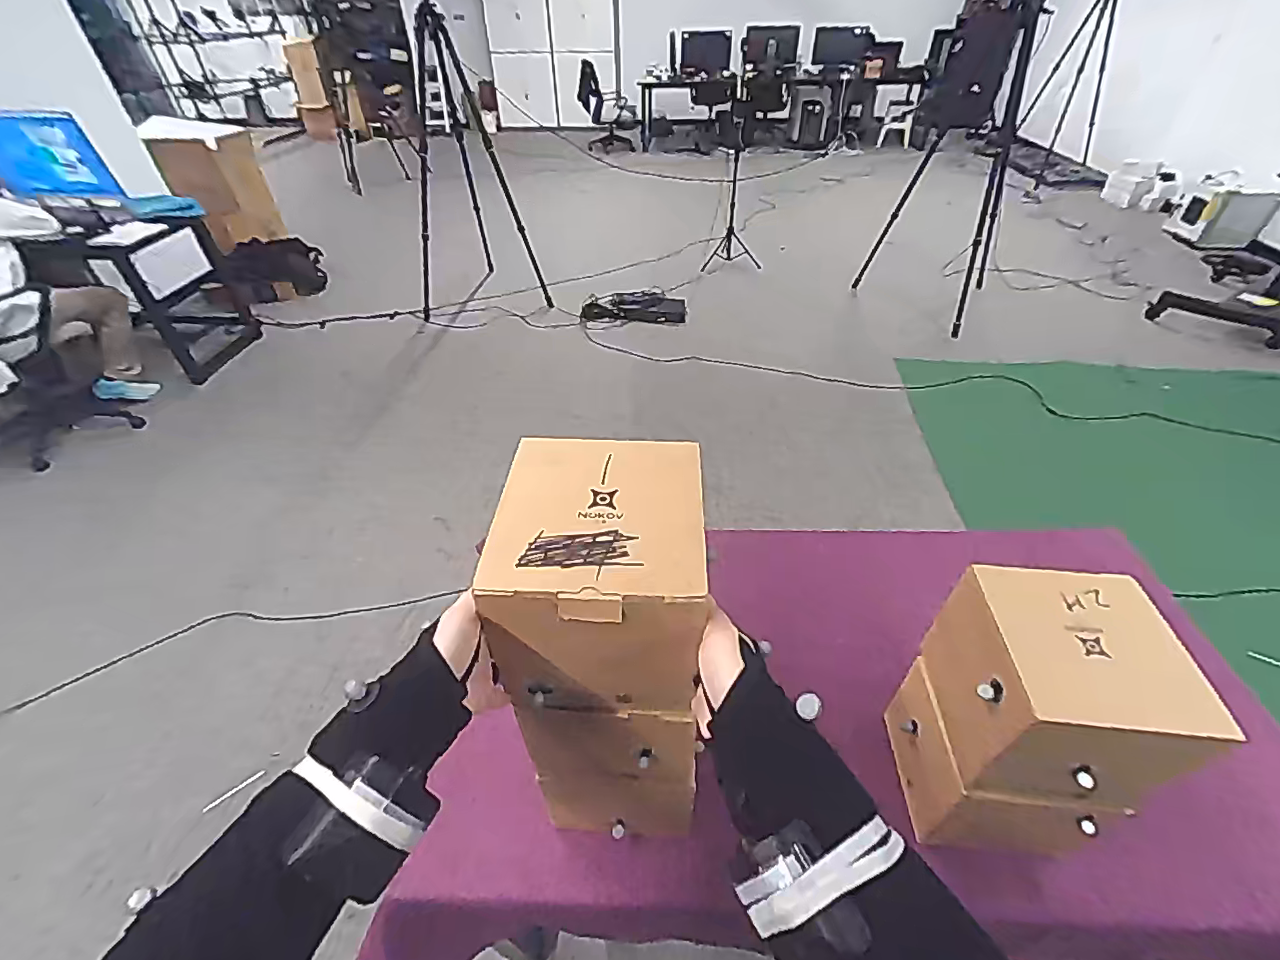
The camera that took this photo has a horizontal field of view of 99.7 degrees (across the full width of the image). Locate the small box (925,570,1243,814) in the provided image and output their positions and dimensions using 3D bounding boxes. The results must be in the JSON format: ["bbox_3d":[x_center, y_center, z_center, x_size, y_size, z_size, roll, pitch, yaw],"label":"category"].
[{"bbox_3d":[0.426,0.220,0.563,0.168,0.176,0.179,4,41,6],"label":"small box"}]

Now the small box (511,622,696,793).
[{"bbox_3d":[-0.024,0.216,0.589,0.168,0.176,0.179,3,40,5],"label":"small box"}]

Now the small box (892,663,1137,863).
[{"bbox_3d":[0.430,0.349,0.667,0.179,0.176,0.168,3,41,5],"label":"small box"}]

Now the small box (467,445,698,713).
[{"bbox_3d":[-0.034,0.088,0.484,0.168,0.176,0.179,2,41,2],"label":"small box"}]

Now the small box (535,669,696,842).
[{"bbox_3d":[-0.021,0.343,0.693,0.179,0.176,0.168,2,41,4],"label":"small box"}]
